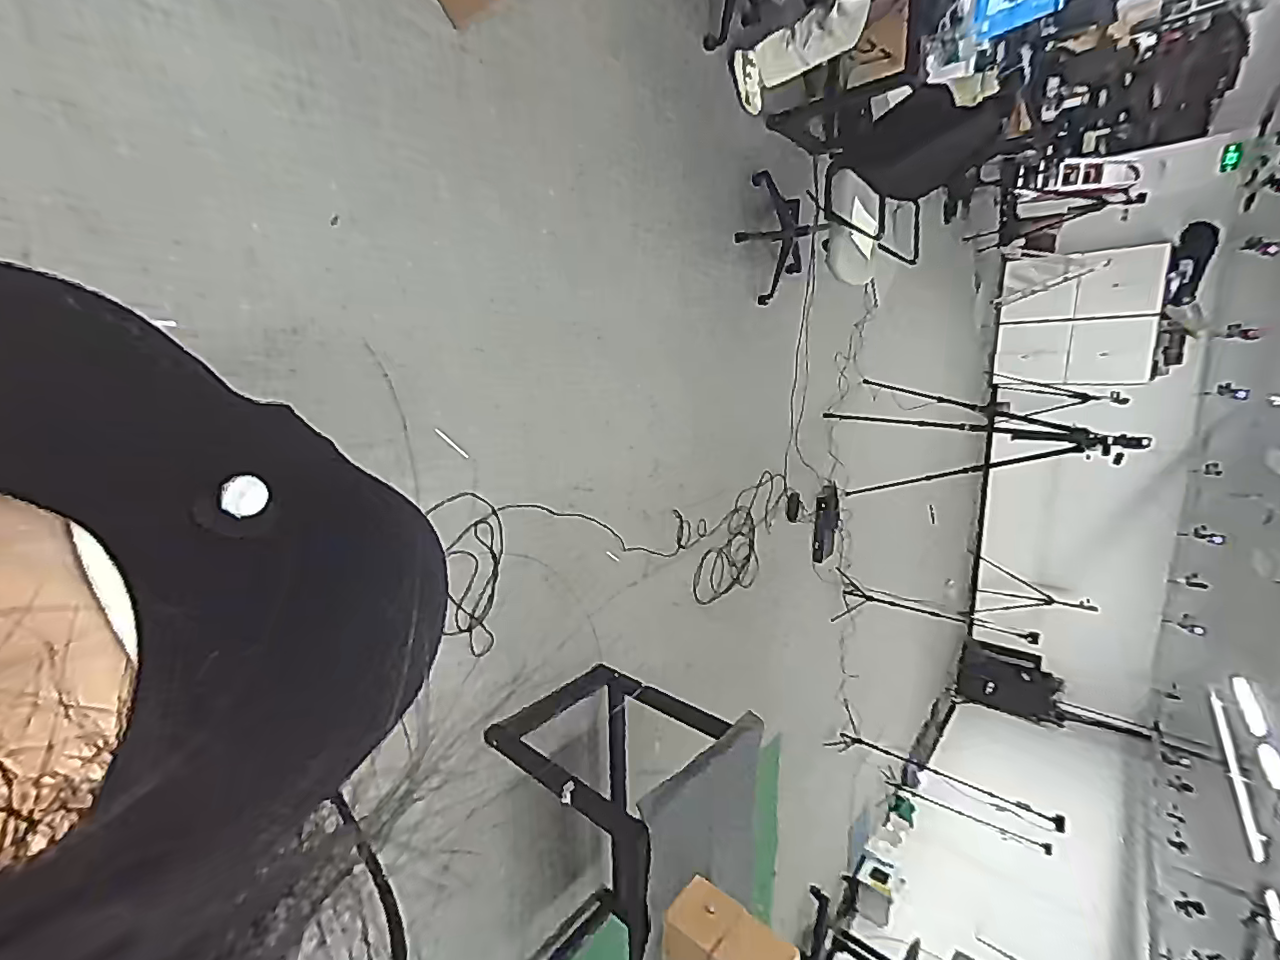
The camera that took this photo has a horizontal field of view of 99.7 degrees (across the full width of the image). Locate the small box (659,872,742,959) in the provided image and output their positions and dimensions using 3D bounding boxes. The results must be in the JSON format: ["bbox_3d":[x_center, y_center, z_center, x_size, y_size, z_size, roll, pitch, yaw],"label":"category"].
[{"bbox_3d":[0.173,1.277,1.537,0.179,0.176,0.168,-13,106,-49],"label":"small box"}]
